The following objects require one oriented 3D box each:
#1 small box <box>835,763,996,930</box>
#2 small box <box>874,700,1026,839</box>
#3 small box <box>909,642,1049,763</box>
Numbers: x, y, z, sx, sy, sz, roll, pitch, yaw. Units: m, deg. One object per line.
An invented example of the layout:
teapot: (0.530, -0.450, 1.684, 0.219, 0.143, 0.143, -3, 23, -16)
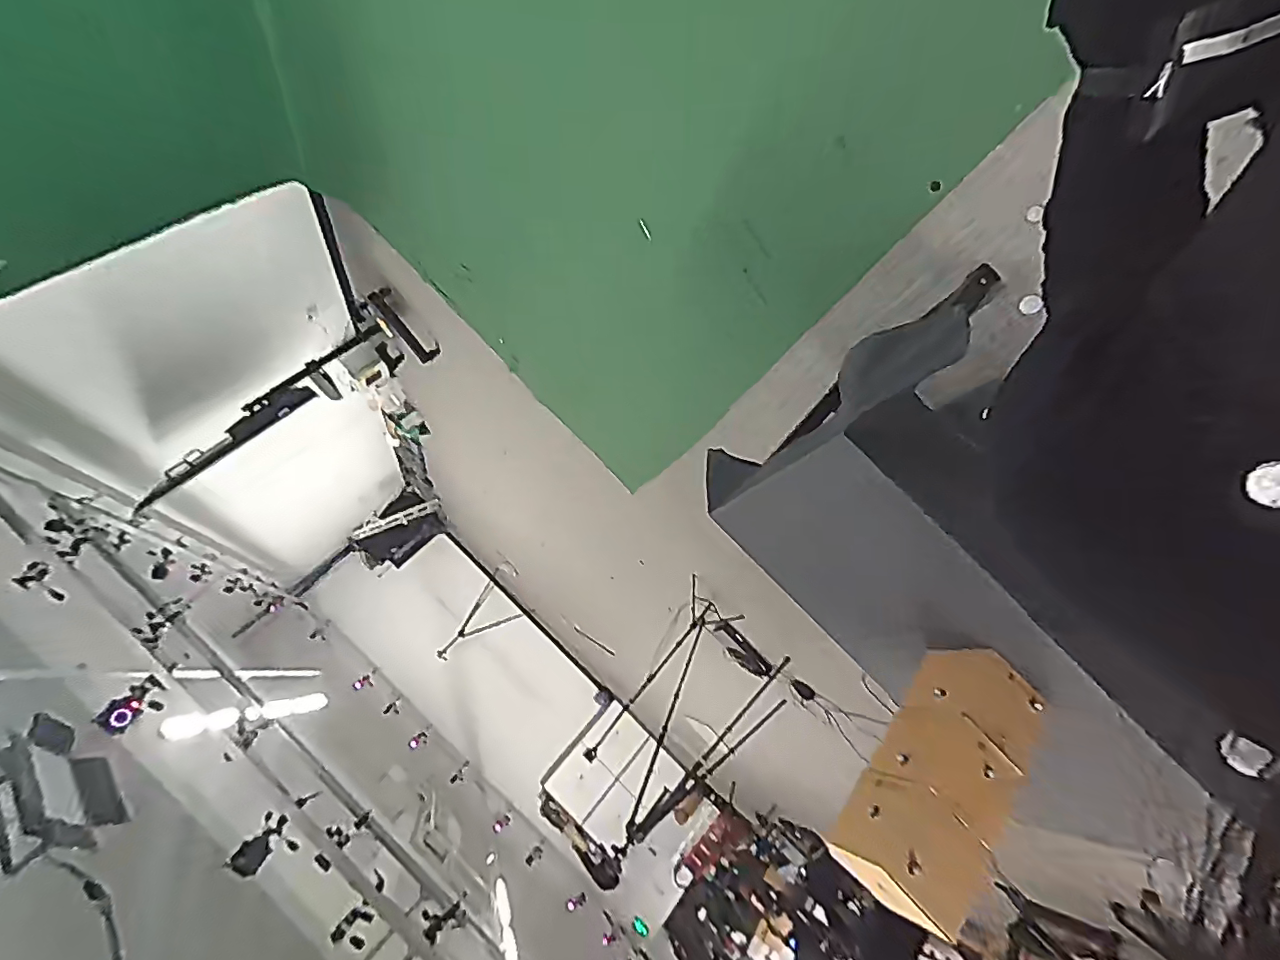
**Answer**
small box: (0.513, 0.667, 1.013, 0.179, 0.176, 0.168, 46, 155, 0)
small box: (0.621, 0.565, 1.085, 0.168, 0.176, 0.179, 45, 155, 1)
small box: (0.726, 0.463, 1.154, 0.168, 0.176, 0.179, 45, 156, 2)
